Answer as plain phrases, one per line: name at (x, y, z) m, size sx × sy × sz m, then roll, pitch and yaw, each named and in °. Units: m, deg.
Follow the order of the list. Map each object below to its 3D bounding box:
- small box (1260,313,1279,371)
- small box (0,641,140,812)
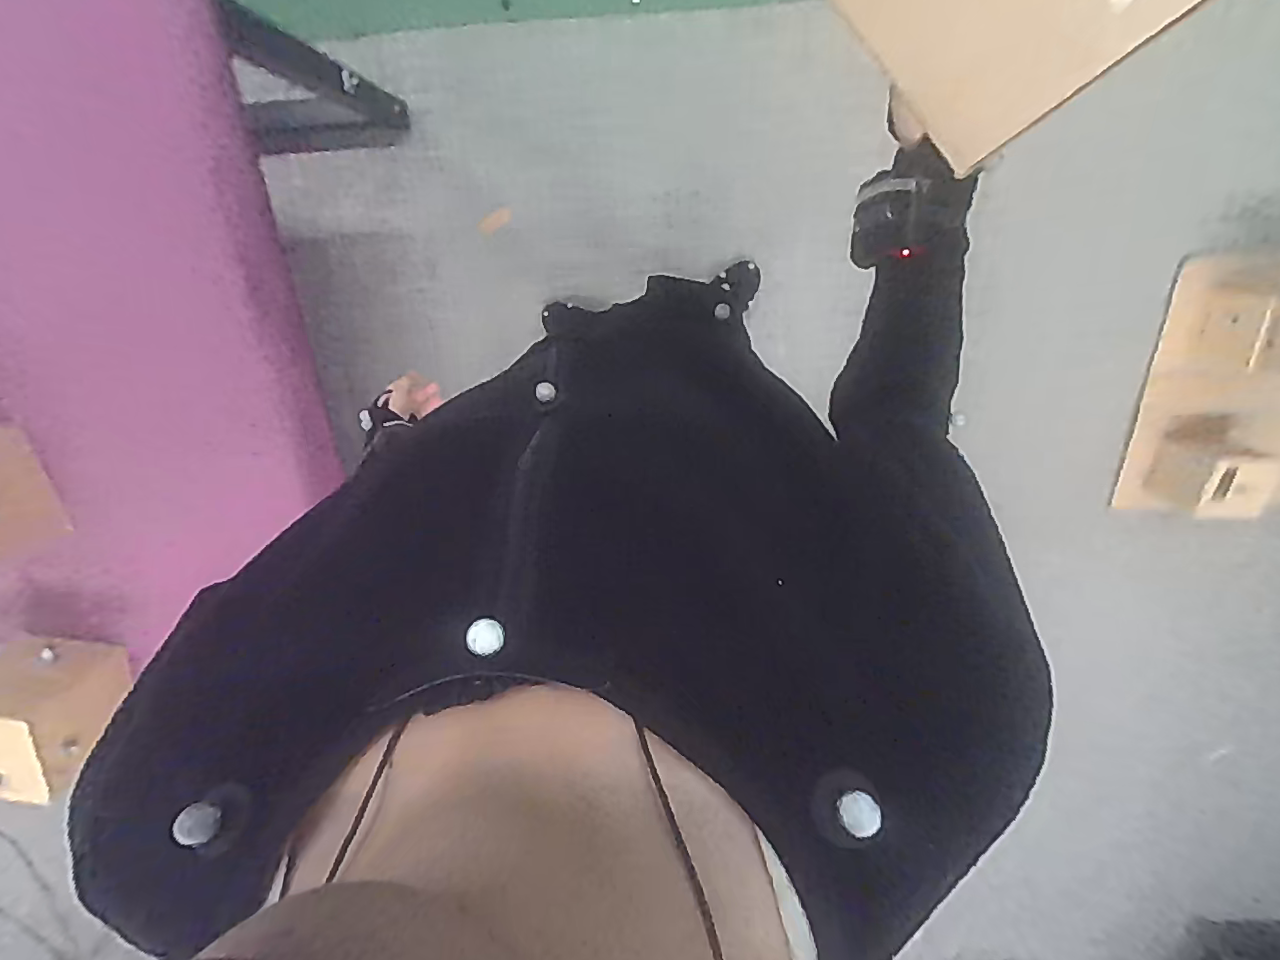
small box at (1.501, -0.310, 1.142) m, size 0.179 × 0.176 × 0.168 m, roll -5°, pitch 113°, yaw 2°
small box at (-0.963, 0.390, 0.870) m, size 0.168 × 0.176 × 0.179 m, roll 8°, pitch 111°, yaw -4°
